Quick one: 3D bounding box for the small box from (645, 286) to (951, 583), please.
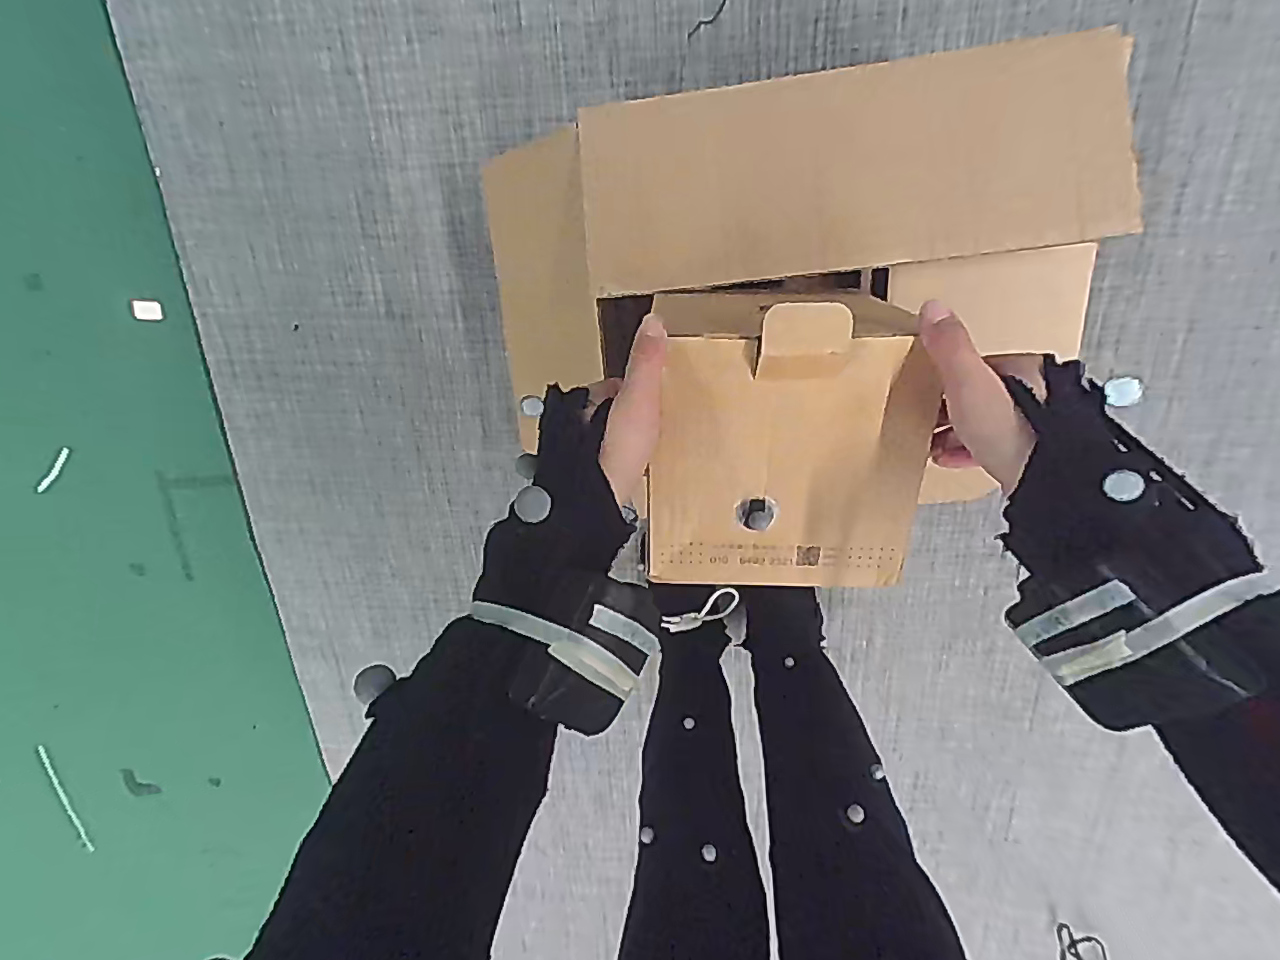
[{"bbox_3d":[0.090,-0.045,0.402,0.168,0.179,0.176,1,117,2],"label":"small box"}]
